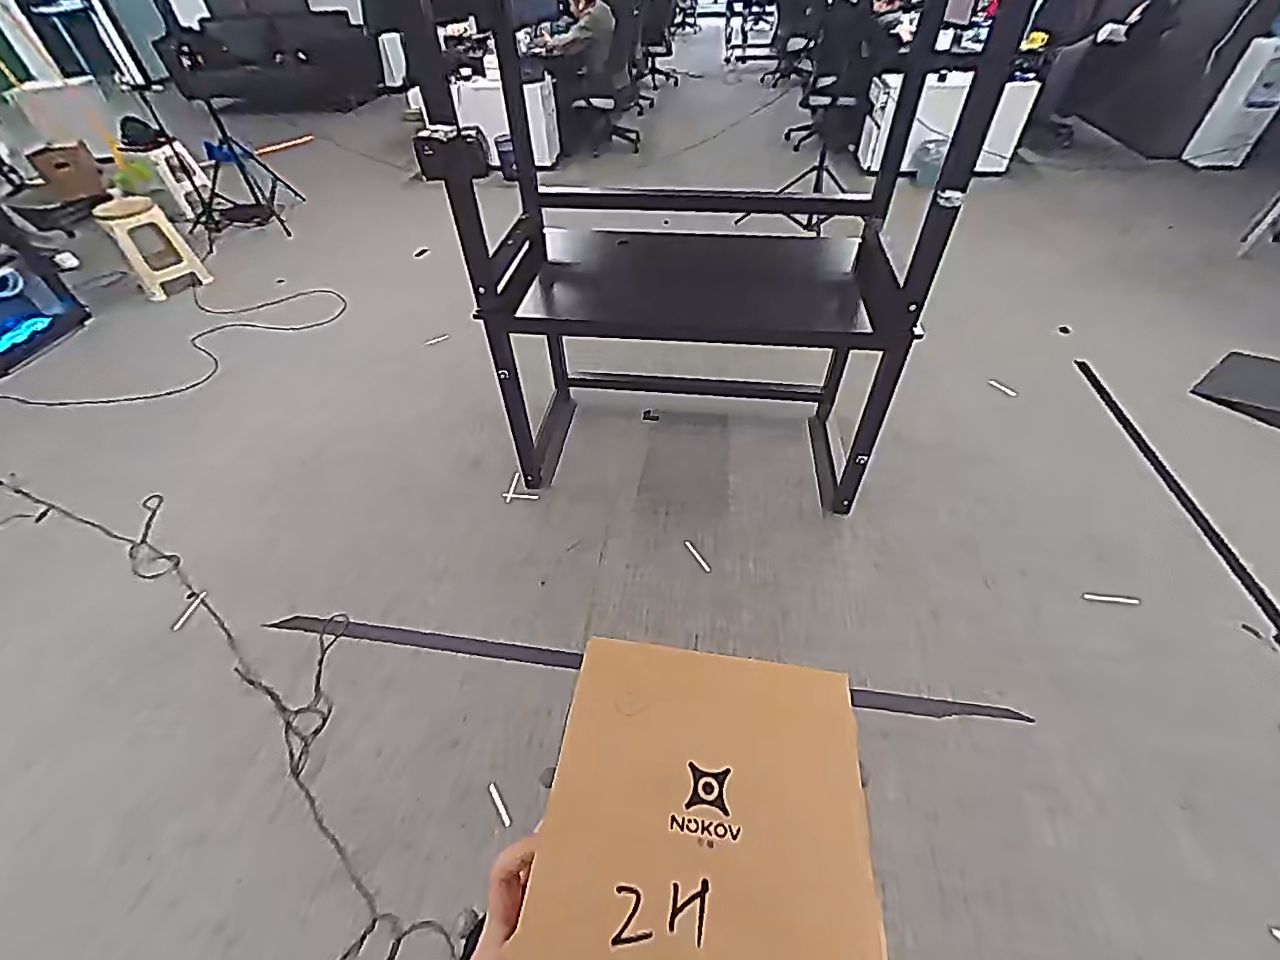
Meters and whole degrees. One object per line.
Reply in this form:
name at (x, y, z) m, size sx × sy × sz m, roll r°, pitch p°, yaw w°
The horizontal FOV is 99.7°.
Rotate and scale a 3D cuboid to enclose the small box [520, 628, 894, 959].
small box at (0.040, 0.222, 0.339) m, size 0.168 × 0.176 × 0.179 m, roll 6°, pitch 45°, yaw 7°
